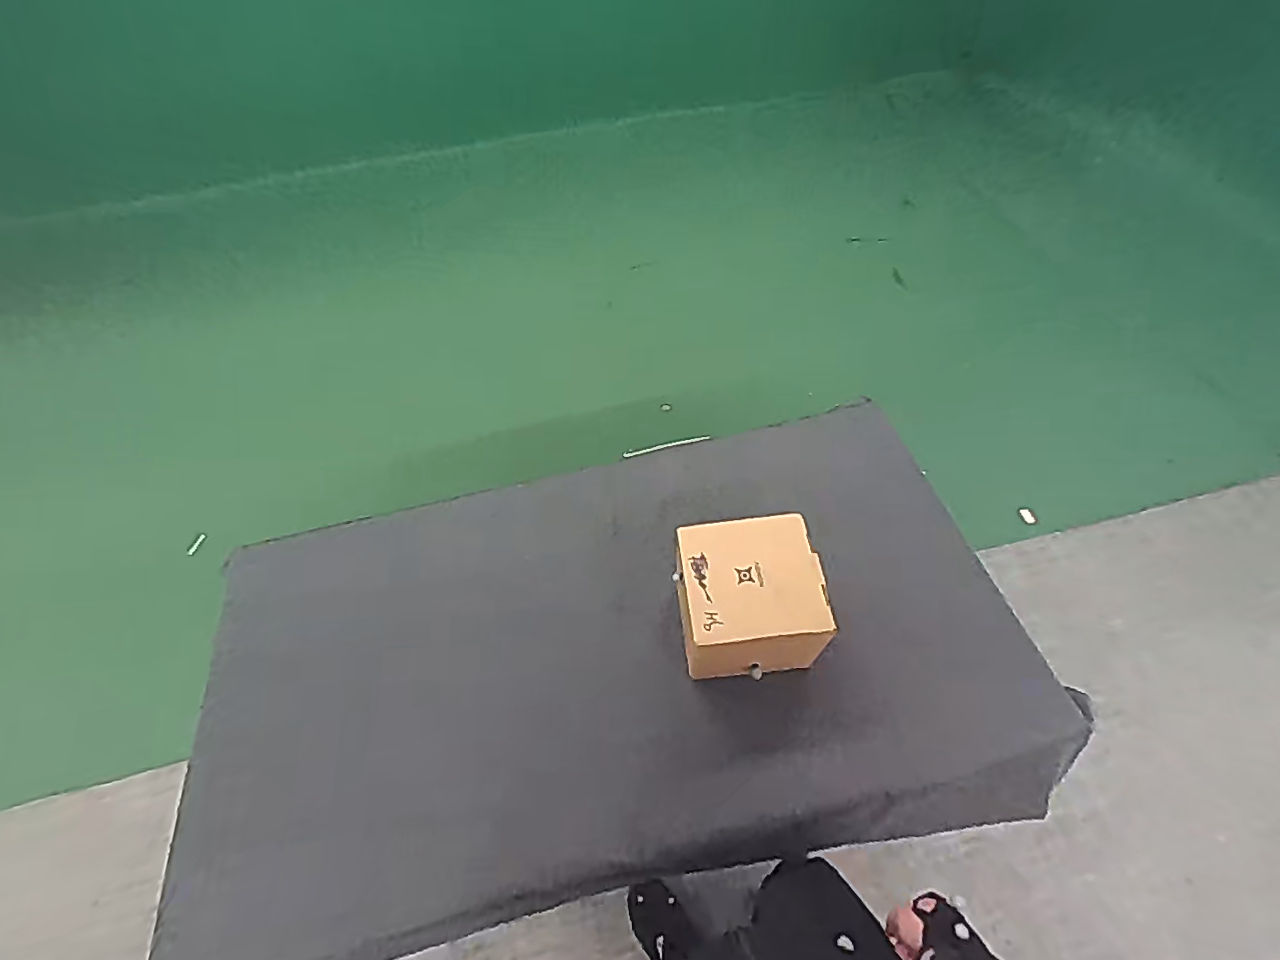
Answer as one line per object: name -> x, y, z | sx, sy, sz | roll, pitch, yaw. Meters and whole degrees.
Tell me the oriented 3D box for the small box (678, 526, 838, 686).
small box -> 0.151, 0.182, 0.763 | 0.179, 0.176, 0.168 | -6, 56, -1
